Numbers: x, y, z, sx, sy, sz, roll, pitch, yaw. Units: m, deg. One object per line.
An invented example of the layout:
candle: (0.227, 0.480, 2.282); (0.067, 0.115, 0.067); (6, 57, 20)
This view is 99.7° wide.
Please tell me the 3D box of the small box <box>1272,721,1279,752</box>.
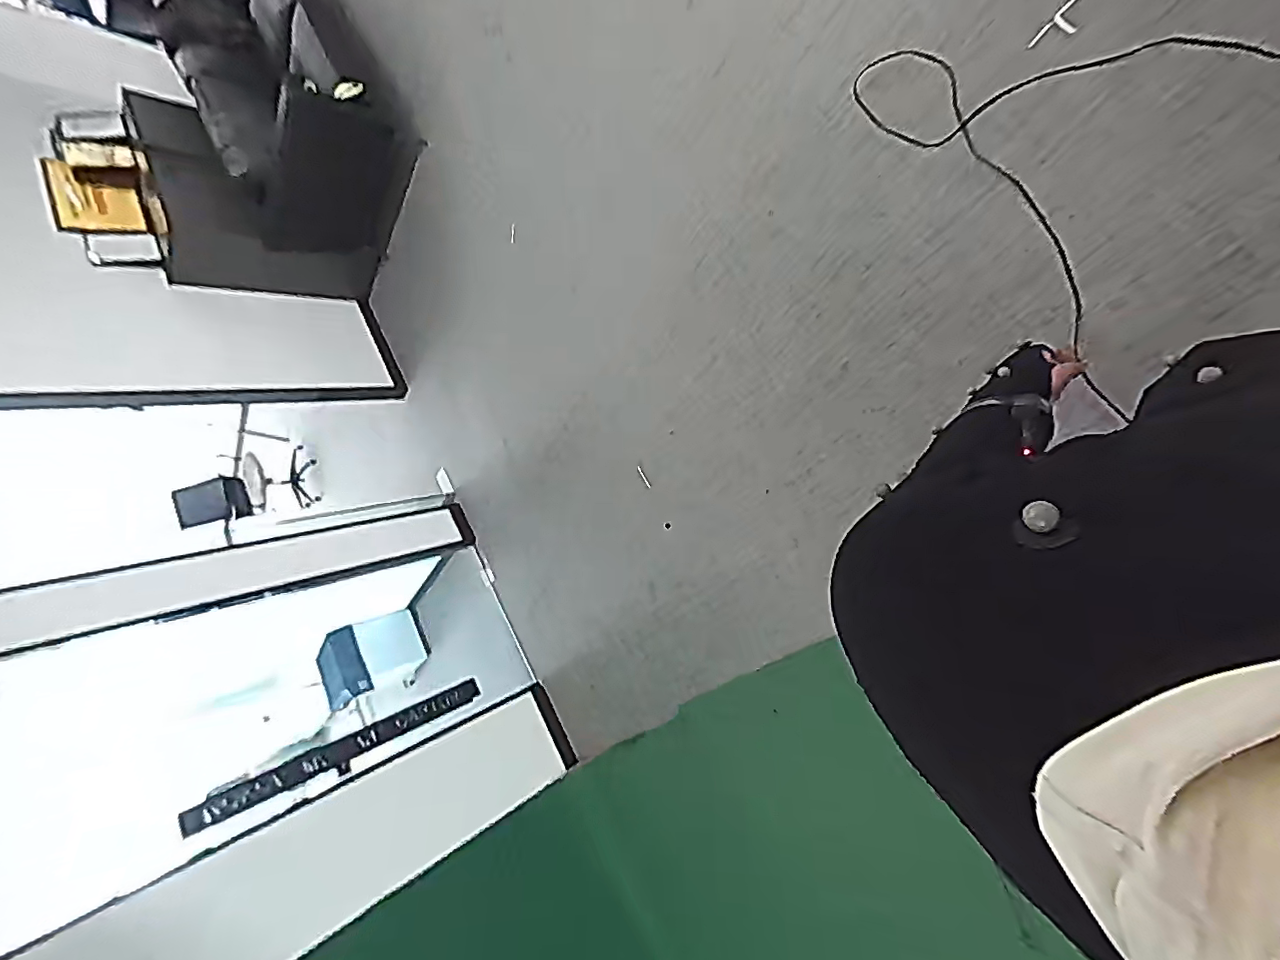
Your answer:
small box: (1.225, 0.498, 0.898); (0.168, 0.176, 0.179); (-46, 66, 40)
